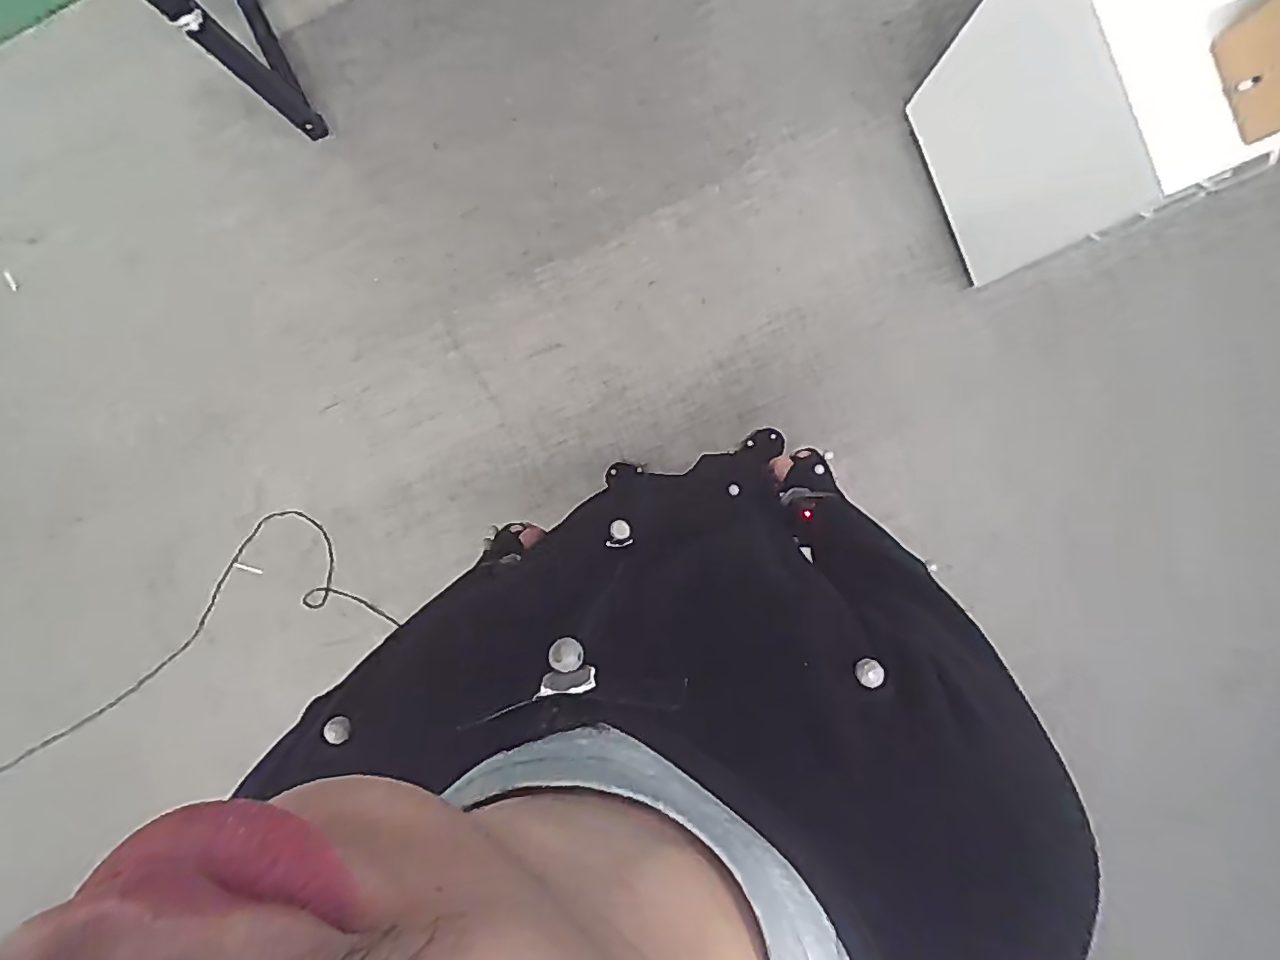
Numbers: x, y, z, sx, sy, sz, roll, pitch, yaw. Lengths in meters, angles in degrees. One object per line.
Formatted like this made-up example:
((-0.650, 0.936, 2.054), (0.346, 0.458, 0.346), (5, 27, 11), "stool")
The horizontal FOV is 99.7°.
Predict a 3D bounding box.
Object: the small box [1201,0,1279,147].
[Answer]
((1.012, -0.634, 0.802), (0.168, 0.176, 0.179), (-22, 93, 3), "small box")
